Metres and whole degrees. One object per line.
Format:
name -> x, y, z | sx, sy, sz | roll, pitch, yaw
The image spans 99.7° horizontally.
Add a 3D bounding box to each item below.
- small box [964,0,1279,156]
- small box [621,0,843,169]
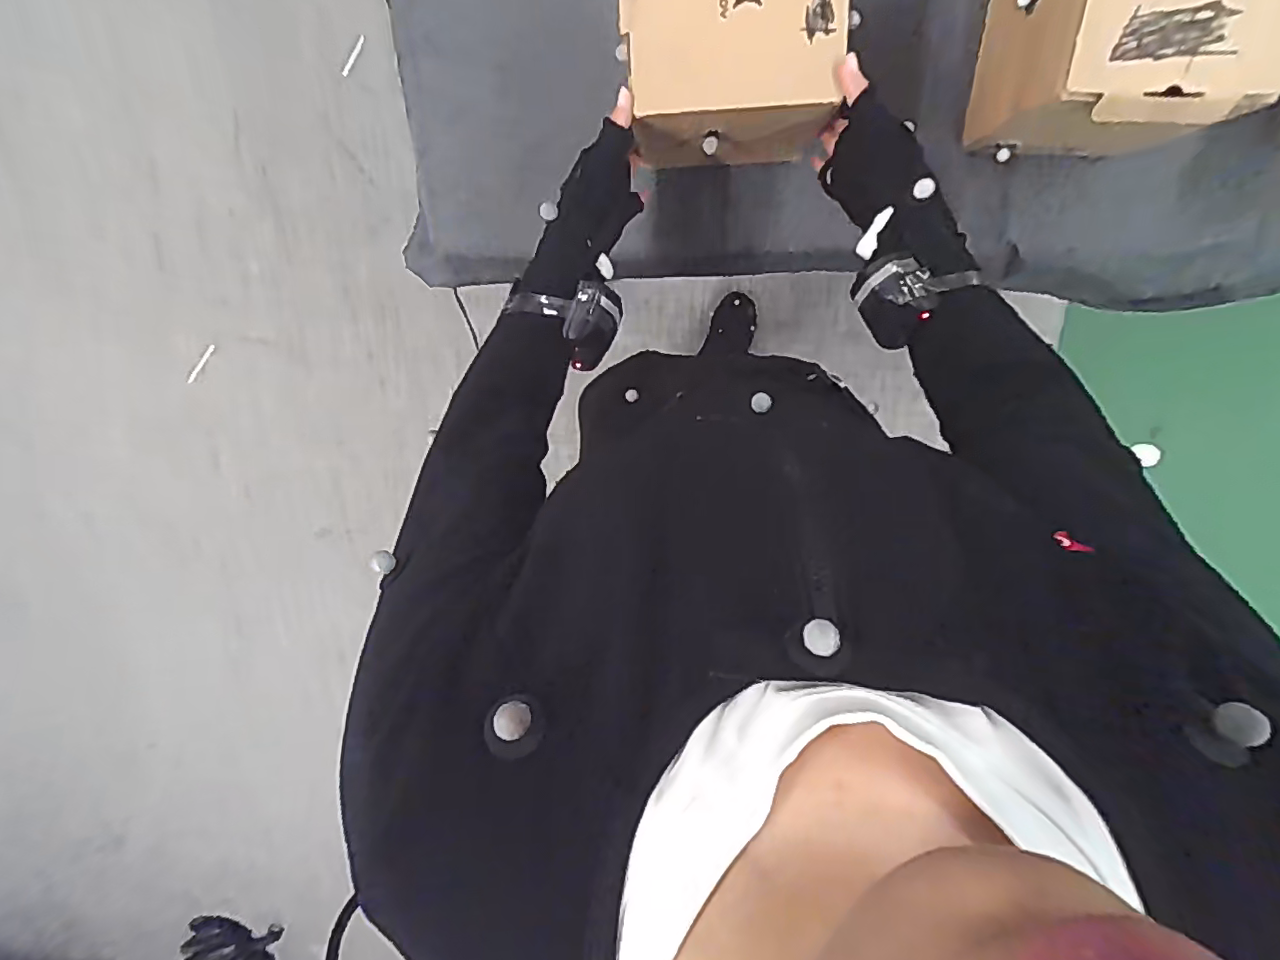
small box -> 0.418, -0.401, 0.475 | 0.168, 0.176, 0.179 | 4, 108, 4
small box -> 0.078, -0.402, 0.499 | 0.179, 0.176, 0.168 | -1, 106, 5
